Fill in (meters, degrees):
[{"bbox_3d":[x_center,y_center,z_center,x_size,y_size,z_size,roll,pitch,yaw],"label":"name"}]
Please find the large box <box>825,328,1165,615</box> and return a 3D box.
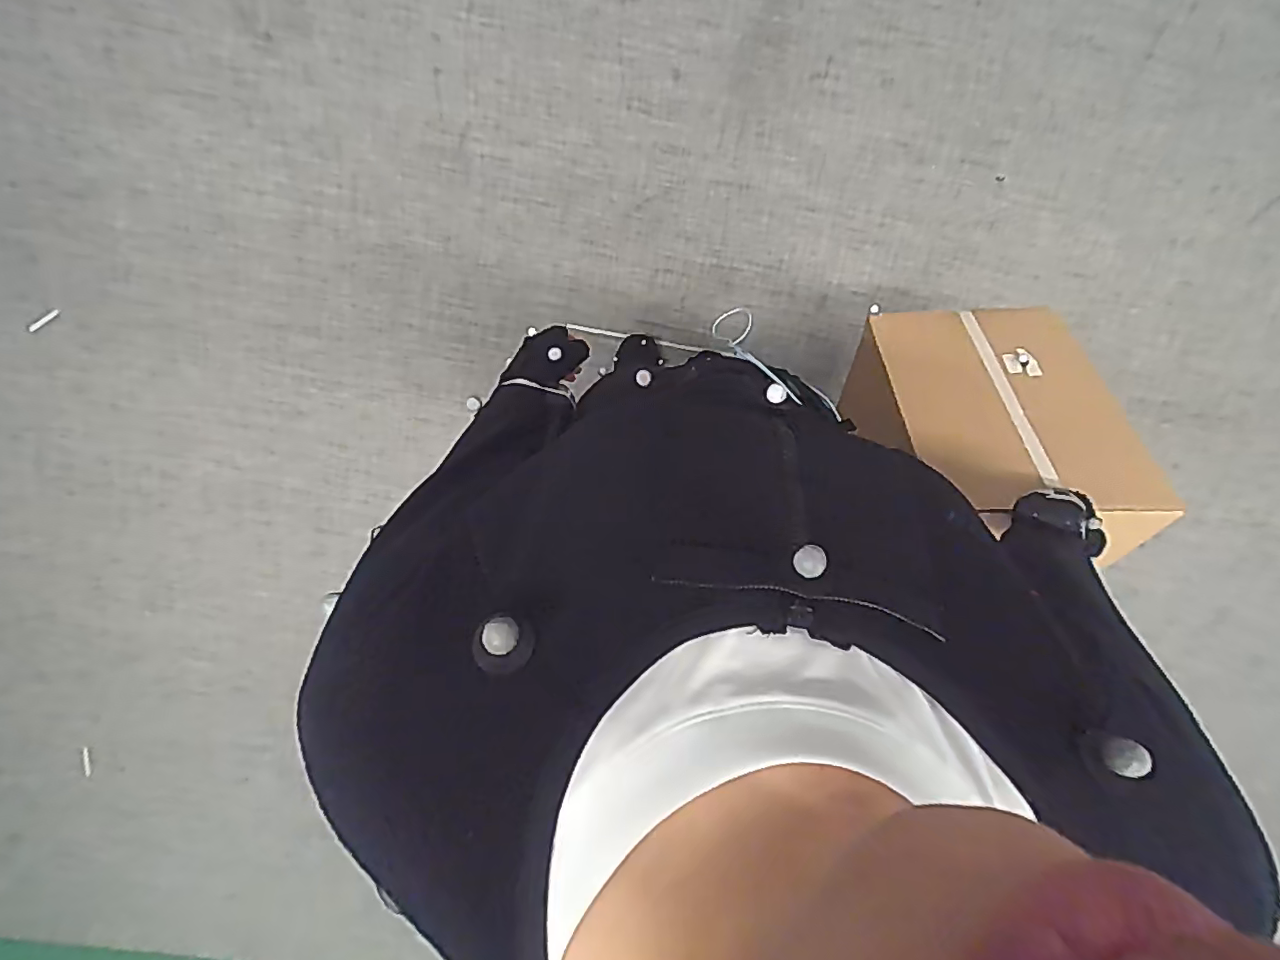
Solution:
[{"bbox_3d":[0.542,-0.011,0.943,0.320,0.408,0.320,0,142,2],"label":"large box"}]
